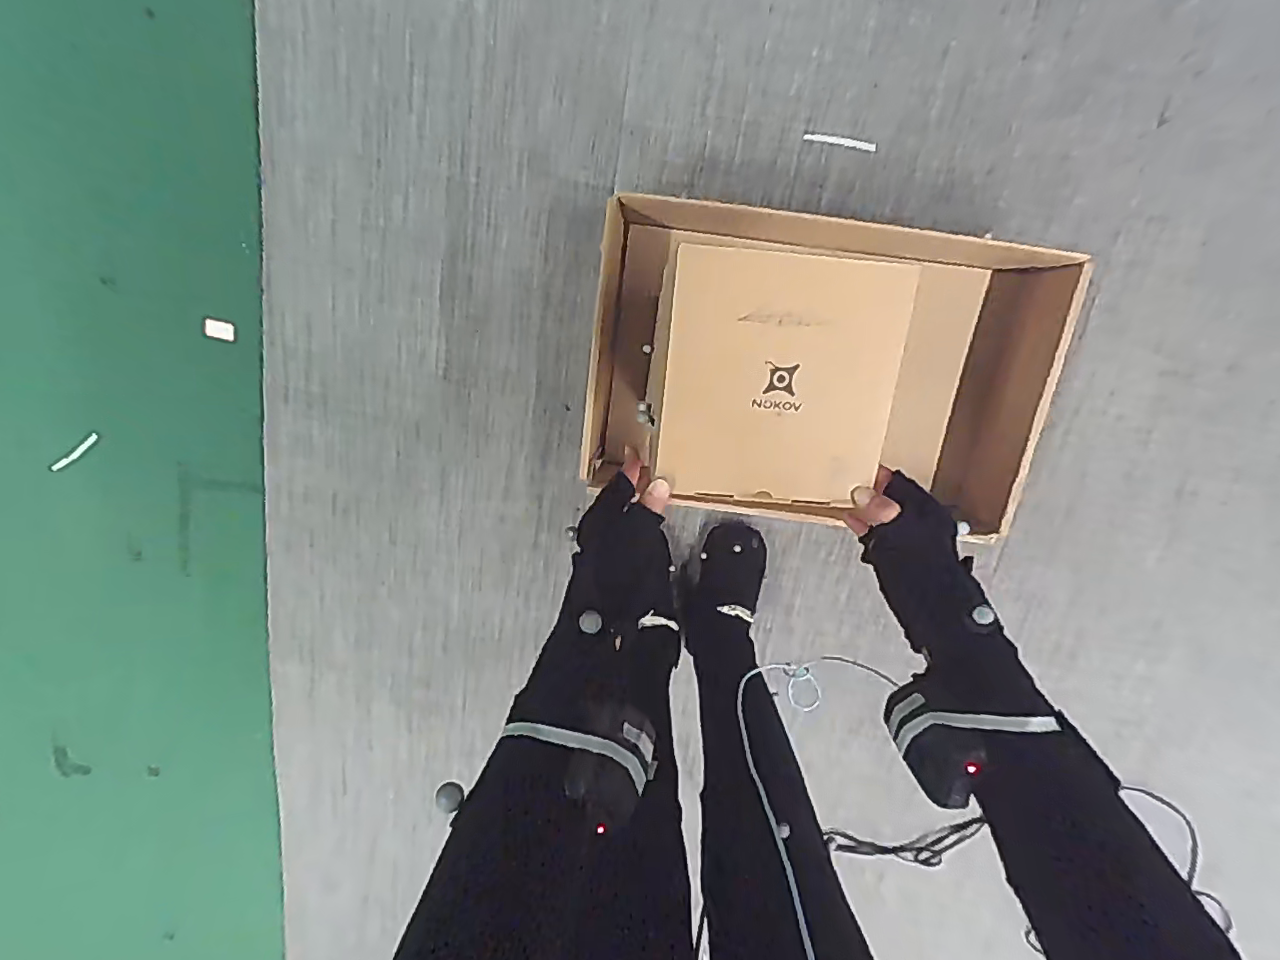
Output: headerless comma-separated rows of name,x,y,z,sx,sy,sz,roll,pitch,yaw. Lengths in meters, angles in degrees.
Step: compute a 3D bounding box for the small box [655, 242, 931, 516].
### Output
small box,0.102,-0.085,0.451,0.168,0.176,0.179,5,106,-2
